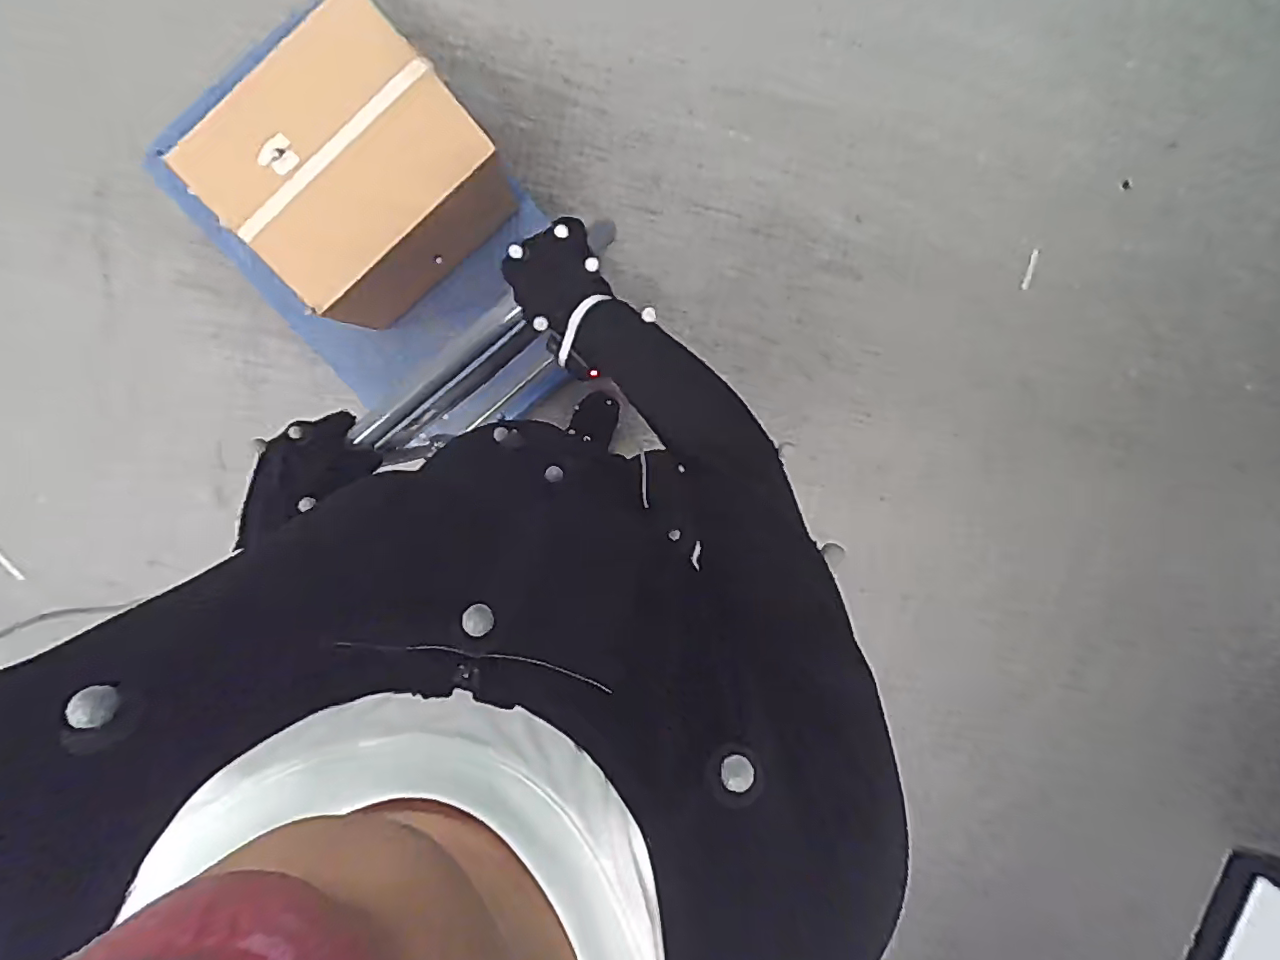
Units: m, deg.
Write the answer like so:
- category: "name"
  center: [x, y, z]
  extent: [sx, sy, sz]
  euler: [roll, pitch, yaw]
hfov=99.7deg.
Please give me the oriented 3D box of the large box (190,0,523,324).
- category: "large box"
  center: [-0.484, -0.555, 1.019]
  extent: [0.408, 0.320, 0.320]
  euler: [-41, 101, 4]
